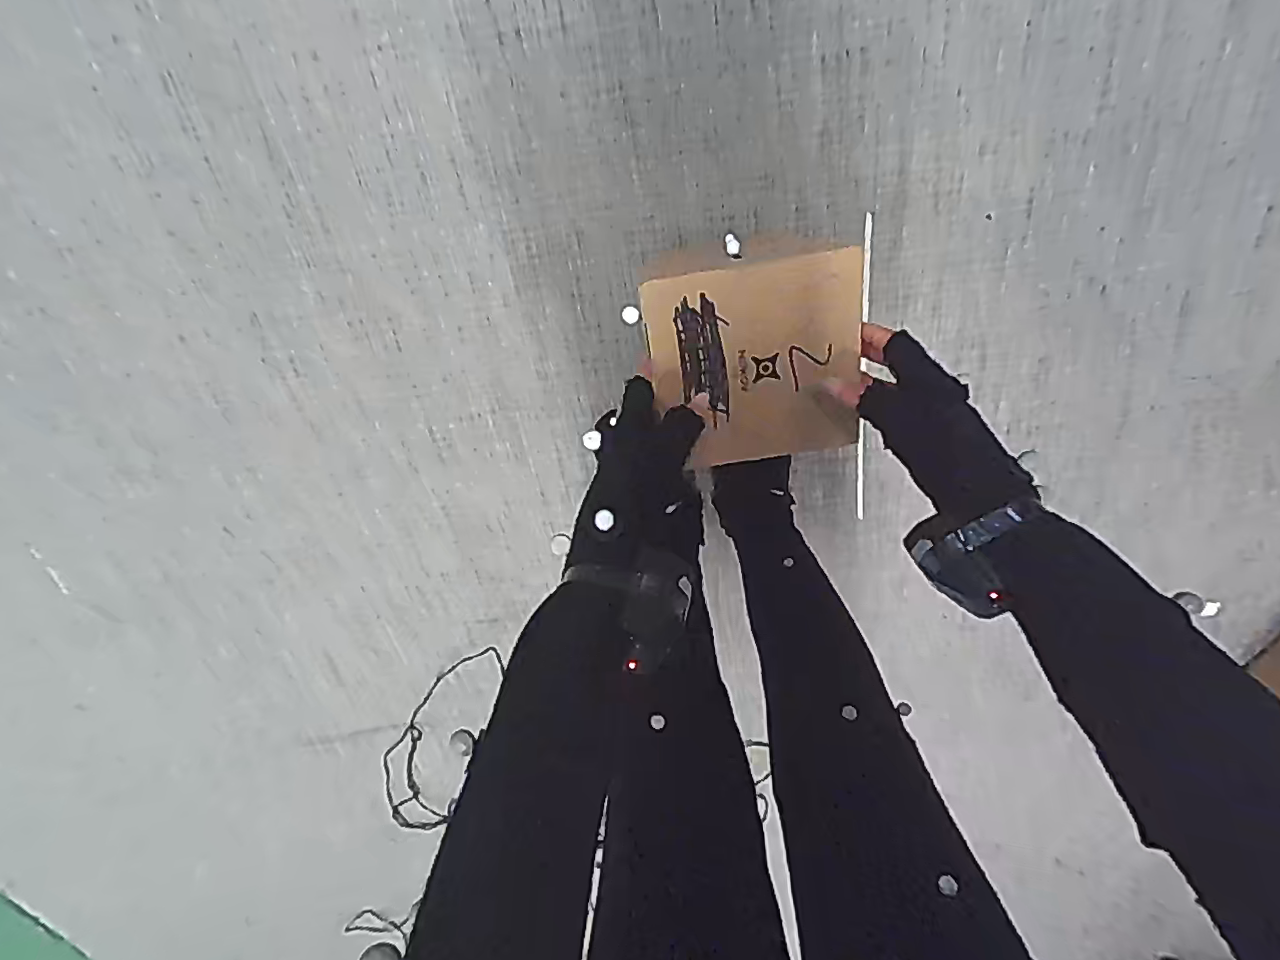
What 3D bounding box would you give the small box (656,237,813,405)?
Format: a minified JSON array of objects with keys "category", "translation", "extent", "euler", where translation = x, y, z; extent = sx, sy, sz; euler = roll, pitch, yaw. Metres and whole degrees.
[{"category":"small box","translation":[0.116,-0.212,0.702],"extent":[0.179,0.176,0.168],"euler":[-7,117,6]}]
